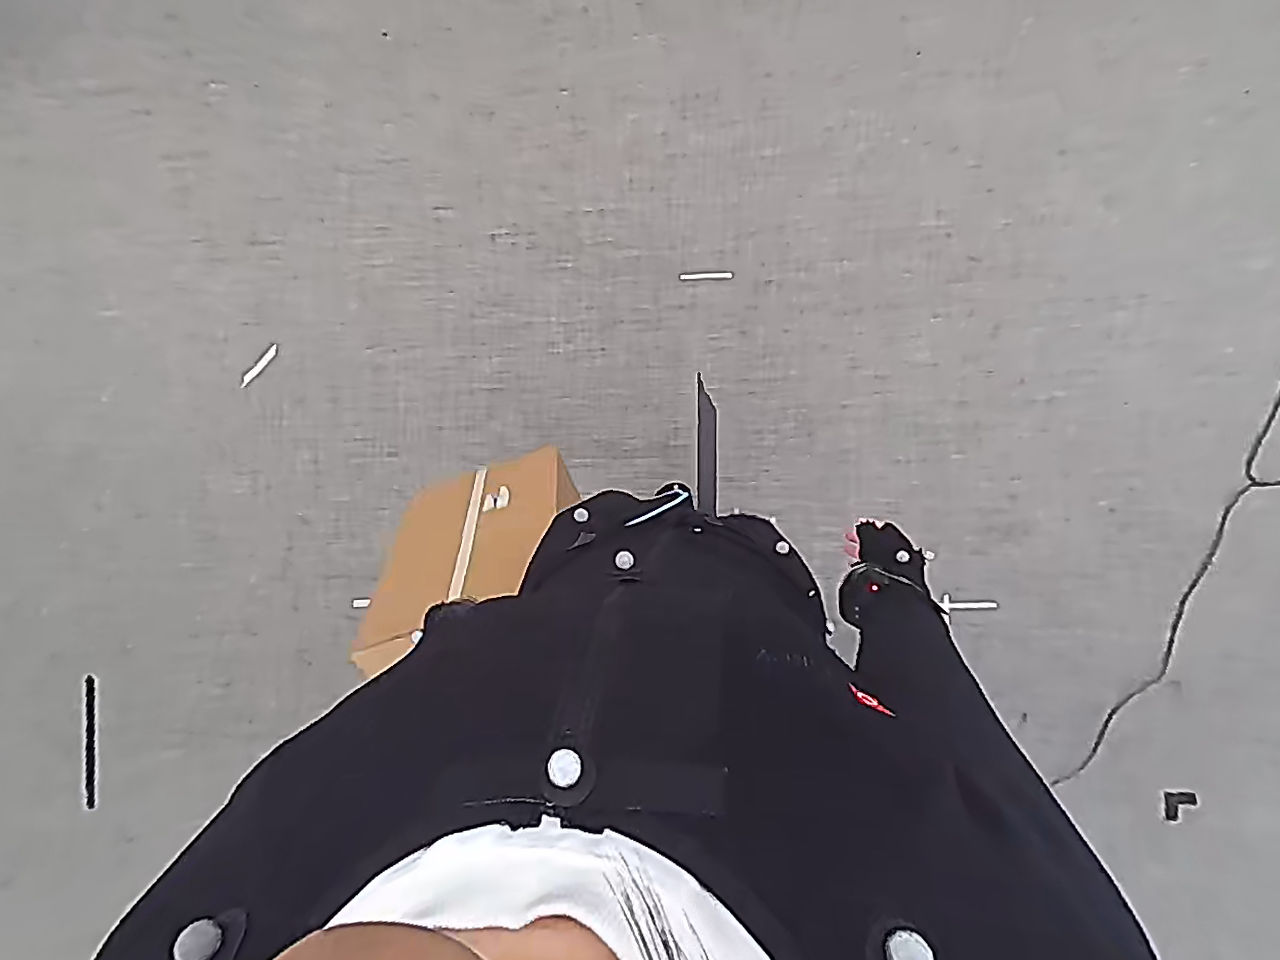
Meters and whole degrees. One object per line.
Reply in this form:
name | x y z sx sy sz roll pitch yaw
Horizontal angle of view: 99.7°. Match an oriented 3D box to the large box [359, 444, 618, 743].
large box | -0.245 0.196 1.016 0.320 0.408 0.320 -17 124 4
